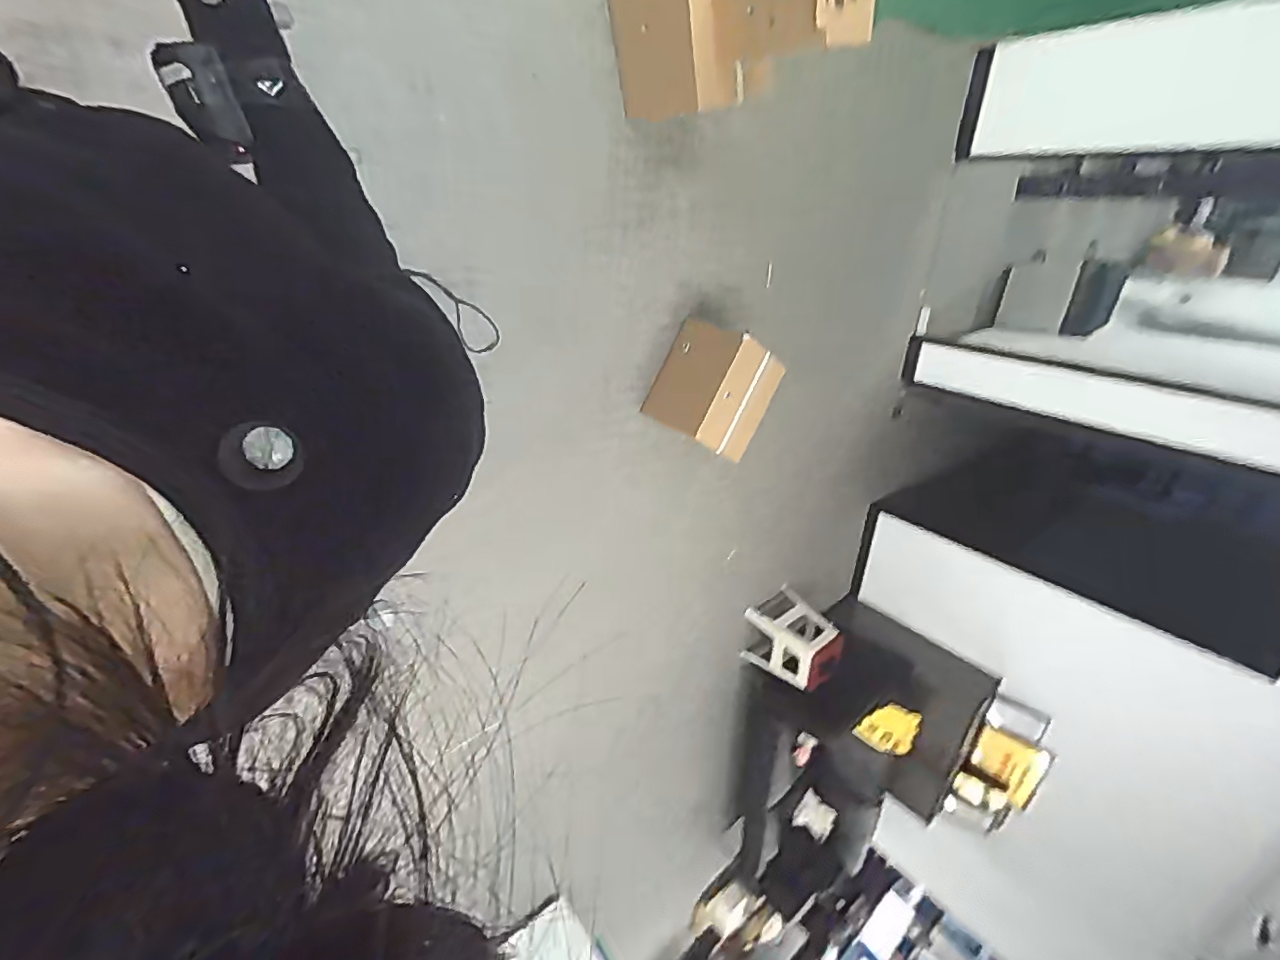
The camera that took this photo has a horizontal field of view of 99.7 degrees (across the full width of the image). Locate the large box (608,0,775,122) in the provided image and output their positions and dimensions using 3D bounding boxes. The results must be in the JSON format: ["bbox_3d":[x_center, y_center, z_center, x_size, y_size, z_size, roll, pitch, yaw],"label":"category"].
[{"bbox_3d":[0.136,-1.242,1.453,0.320,0.320,0.408,-34,130,-26],"label":"large box"}]

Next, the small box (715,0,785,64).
[{"bbox_3d":[0.295,-1.129,1.302,0.168,0.176,0.179,-29,130,-26],"label":"small box"}]

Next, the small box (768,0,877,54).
[{"bbox_3d":[0.402,-1.062,1.198,0.179,0.176,0.168,-28,129,-28],"label":"small box"}]
